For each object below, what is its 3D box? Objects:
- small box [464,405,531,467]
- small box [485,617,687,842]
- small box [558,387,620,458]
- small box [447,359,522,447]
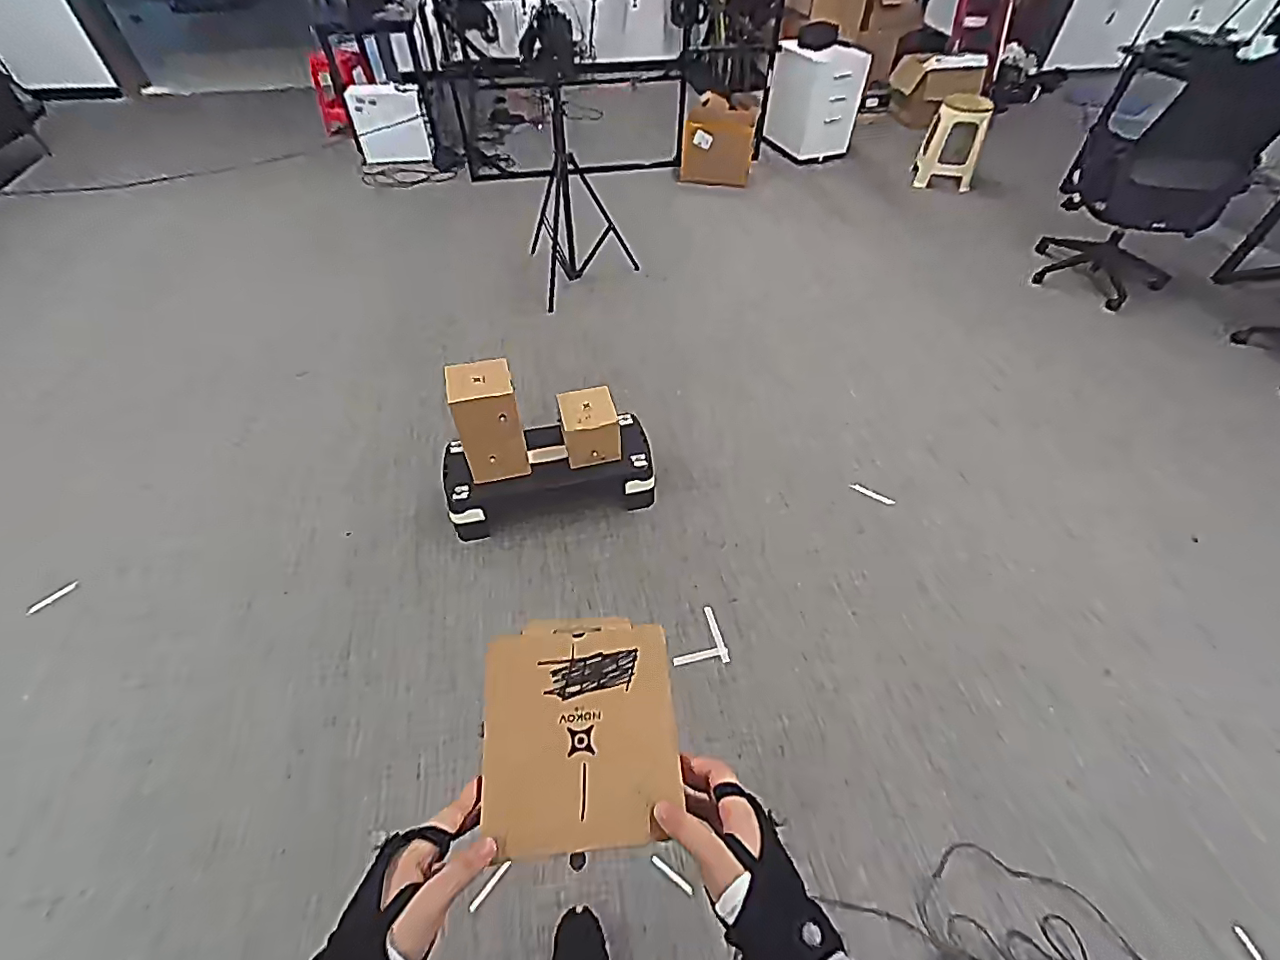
[{"bbox_3d":[-0.442,-0.115,1.679,0.179,0.176,0.168,-12,51,-10],"label":"small box"},{"bbox_3d":[-0.058,0.251,0.543,0.168,0.176,0.179,-1,59,-8],"label":"small box"},{"bbox_3d":[-0.161,-0.169,1.725,0.168,0.176,0.179,-12,51,-9],"label":"small box"},{"bbox_3d":[-0.441,-0.220,1.553,0.179,0.176,0.168,-13,50,-11],"label":"small box"}]
